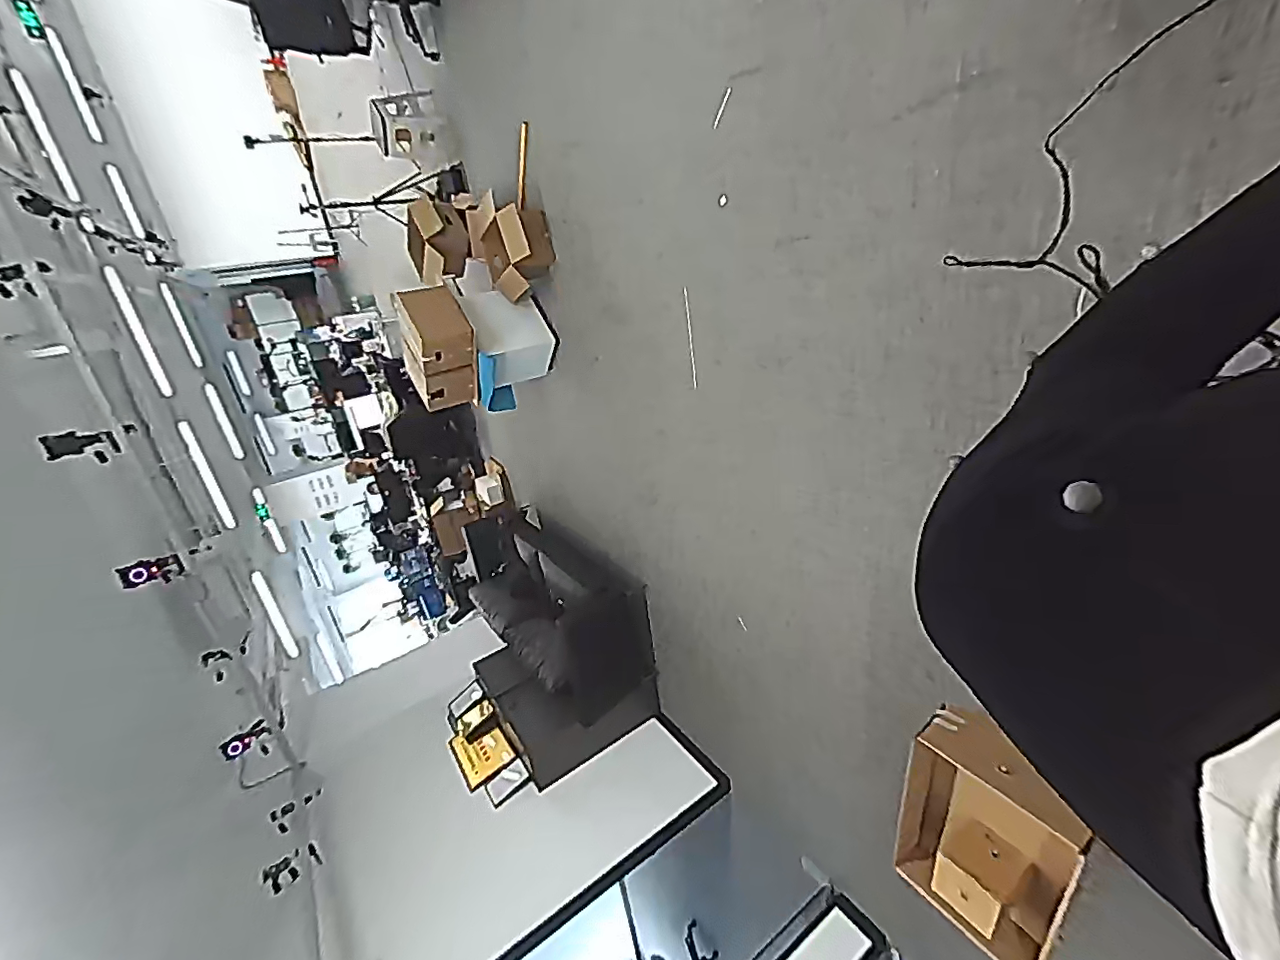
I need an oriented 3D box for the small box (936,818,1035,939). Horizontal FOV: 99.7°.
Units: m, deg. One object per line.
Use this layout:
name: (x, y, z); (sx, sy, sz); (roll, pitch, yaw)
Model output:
small box: (0.958, 1.097, 1.501); (0.168, 0.176, 0.179); (28, 131, 52)
